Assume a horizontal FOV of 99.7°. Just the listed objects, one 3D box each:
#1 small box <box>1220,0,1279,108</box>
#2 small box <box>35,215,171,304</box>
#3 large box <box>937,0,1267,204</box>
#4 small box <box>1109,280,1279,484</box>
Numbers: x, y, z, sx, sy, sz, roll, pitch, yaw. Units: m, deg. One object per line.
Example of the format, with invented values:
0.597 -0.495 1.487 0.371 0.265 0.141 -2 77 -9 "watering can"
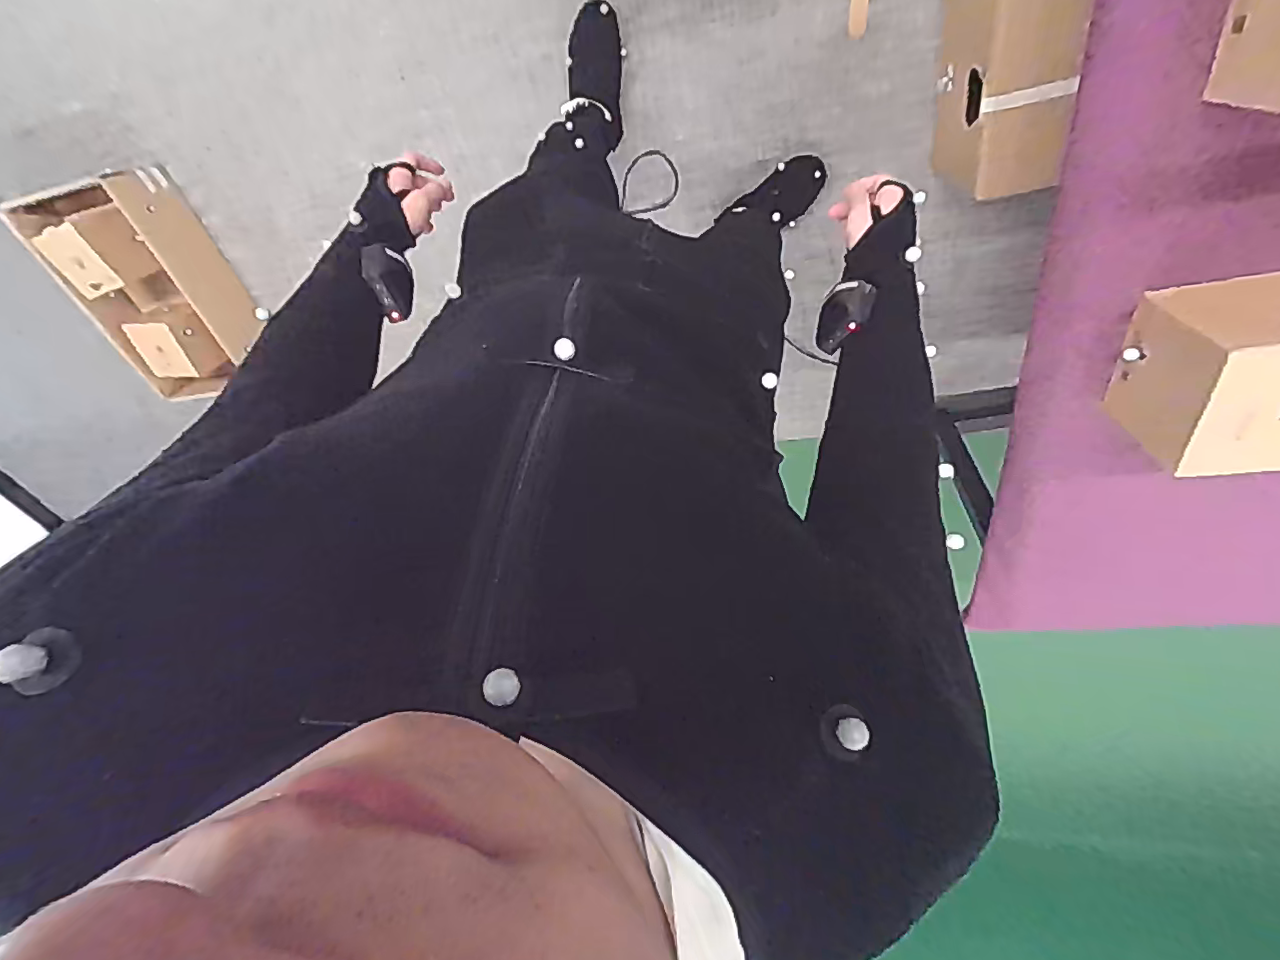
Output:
0.611 -0.391 0.401 0.179 0.176 0.168 -8 128 15 "small box"
-1.512 -0.632 1.535 0.168 0.176 0.179 -9 128 17 "small box"
0.789 -0.734 0.955 0.408 0.320 0.320 -6 129 15 "large box"
0.701 -0.115 0.619 0.179 0.176 0.168 -5 128 14 "small box"
